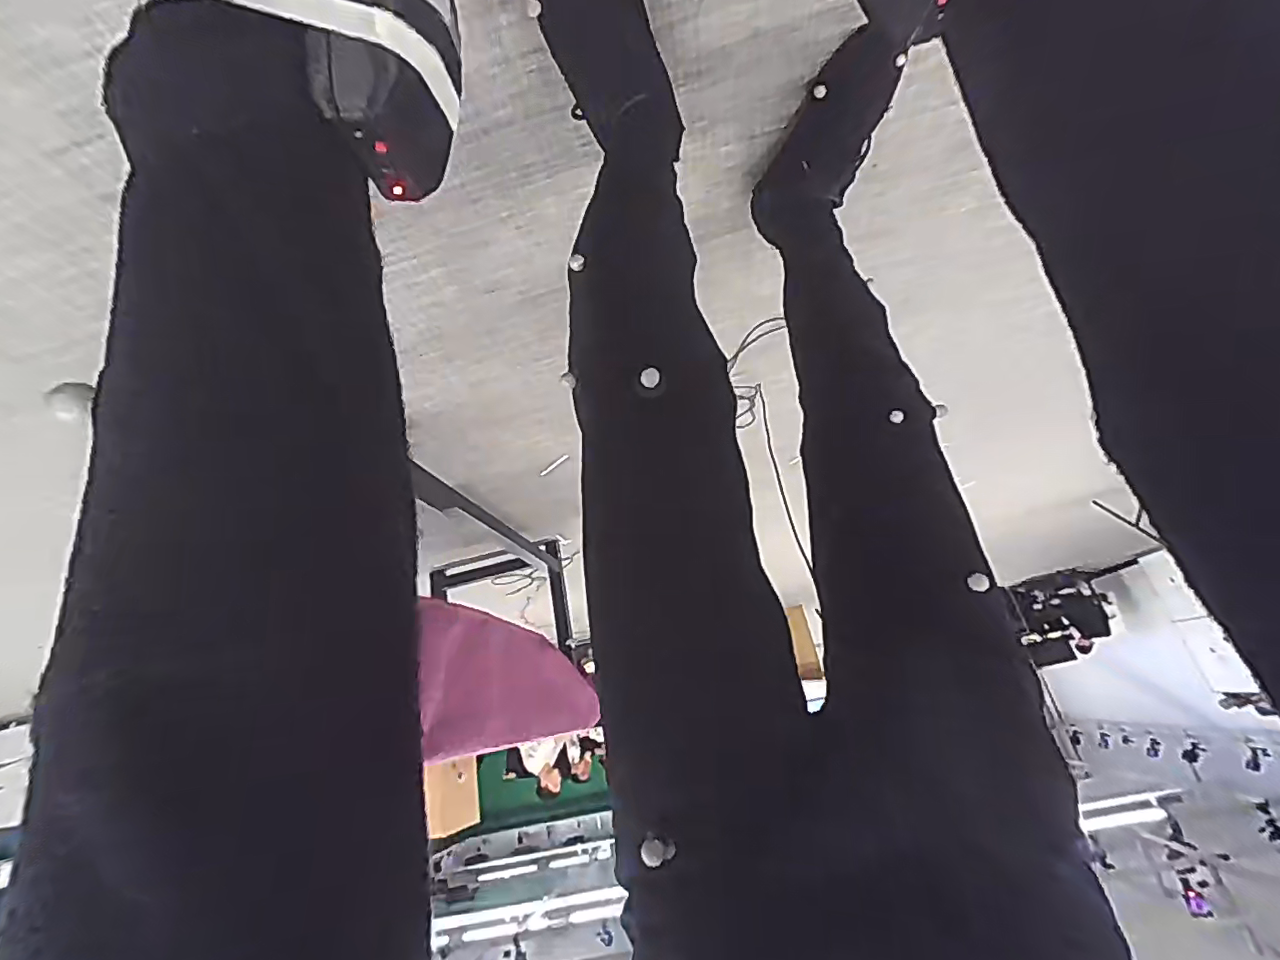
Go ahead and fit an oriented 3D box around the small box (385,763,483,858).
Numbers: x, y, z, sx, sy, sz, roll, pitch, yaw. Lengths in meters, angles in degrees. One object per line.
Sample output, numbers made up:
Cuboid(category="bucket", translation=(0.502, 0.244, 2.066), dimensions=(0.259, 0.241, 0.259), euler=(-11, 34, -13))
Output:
Cuboid(category="small box", translation=(-0.521, 0.833, 1.377), dimensions=(0.179, 0.176, 0.168), euler=(-18, 156, 10))
